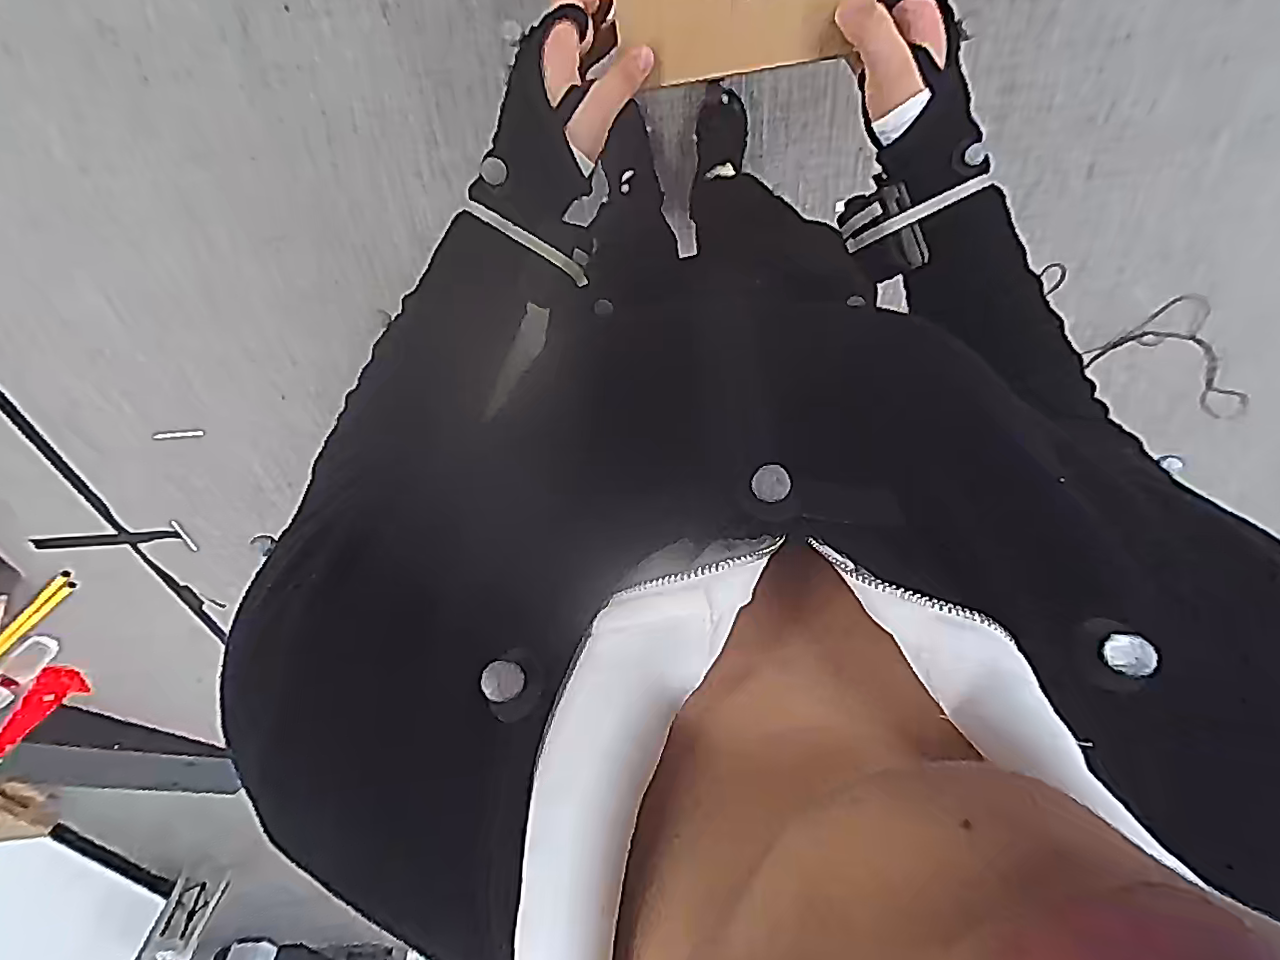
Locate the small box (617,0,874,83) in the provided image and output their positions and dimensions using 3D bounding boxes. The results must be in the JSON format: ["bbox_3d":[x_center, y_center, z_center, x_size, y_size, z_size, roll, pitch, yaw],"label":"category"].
[{"bbox_3d":[0.062,-0.397,0.379,0.168,0.176,0.179,-6,127,7],"label":"small box"}]
